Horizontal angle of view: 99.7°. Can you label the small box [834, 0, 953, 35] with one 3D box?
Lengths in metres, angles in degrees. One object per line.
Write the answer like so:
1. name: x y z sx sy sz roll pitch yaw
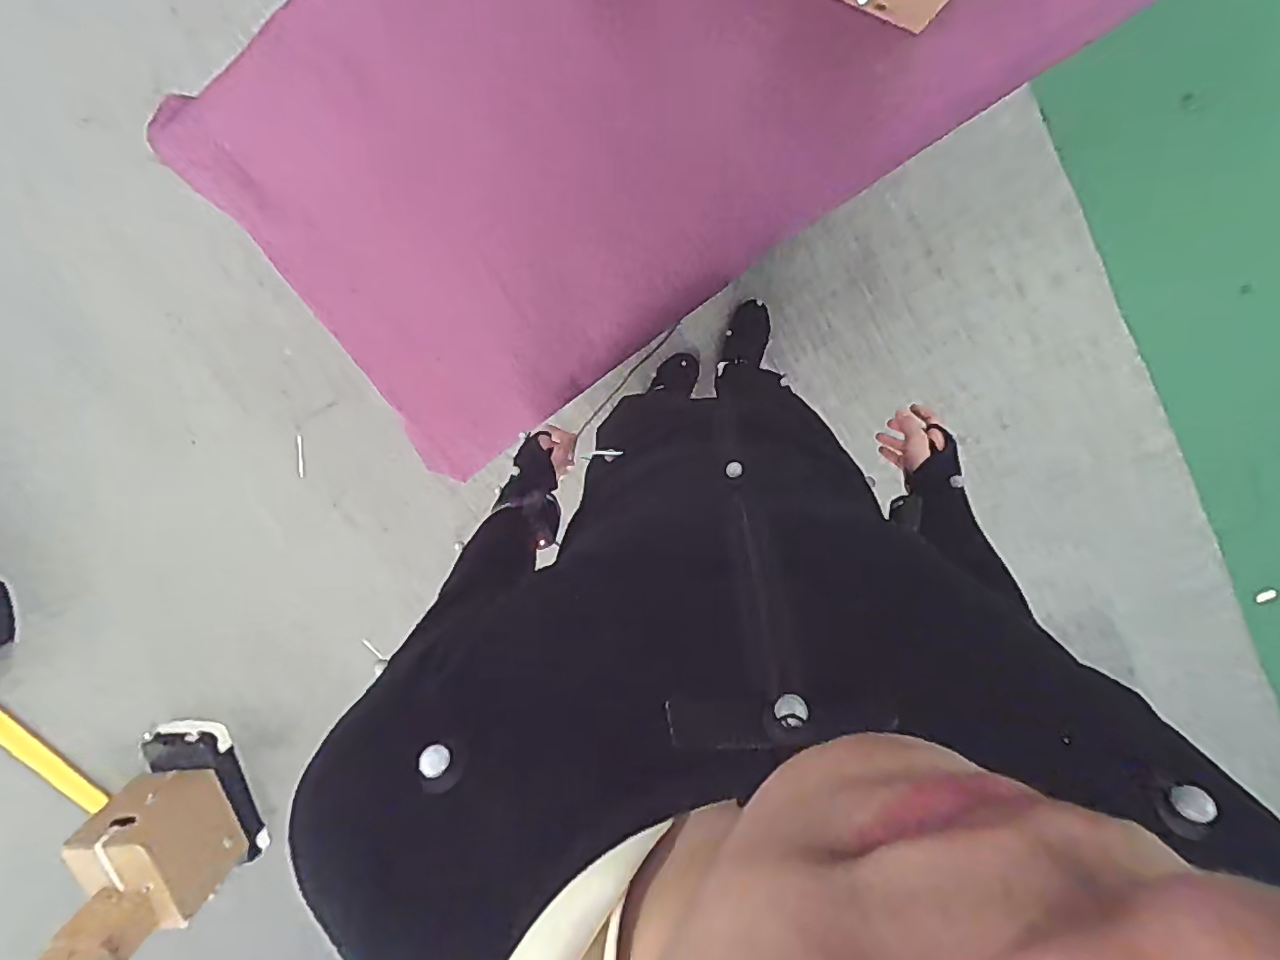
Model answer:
1. small box: 0.302 -0.634 0.573 0.168 0.176 0.179 21 110 -3
